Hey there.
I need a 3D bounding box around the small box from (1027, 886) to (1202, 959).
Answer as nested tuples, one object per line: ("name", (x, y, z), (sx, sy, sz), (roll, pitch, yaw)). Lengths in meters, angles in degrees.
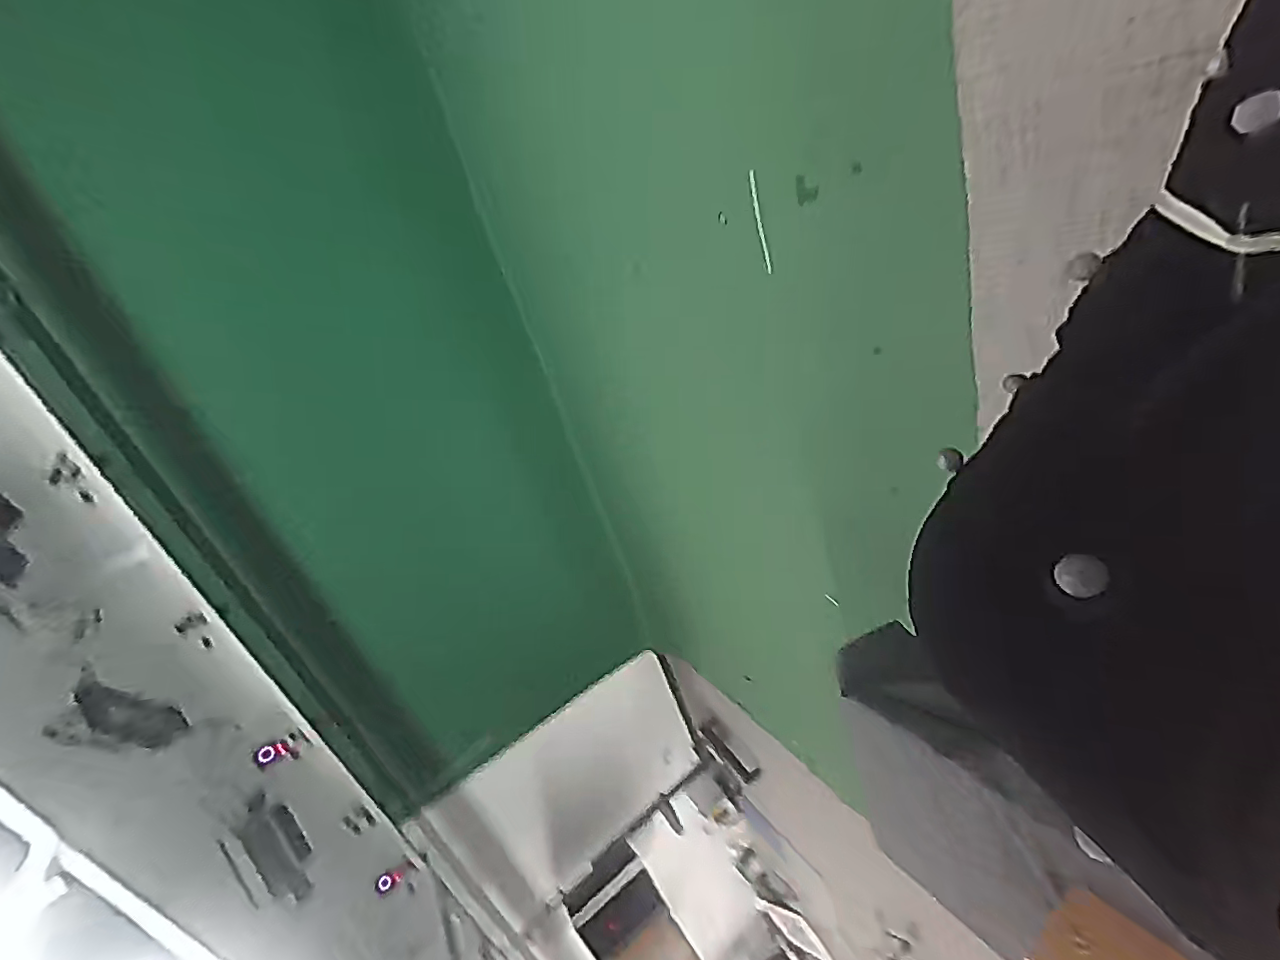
("small box", (0.761, 0.804, 0.866), (0.179, 0.176, 0.168), (21, 138, 56))
